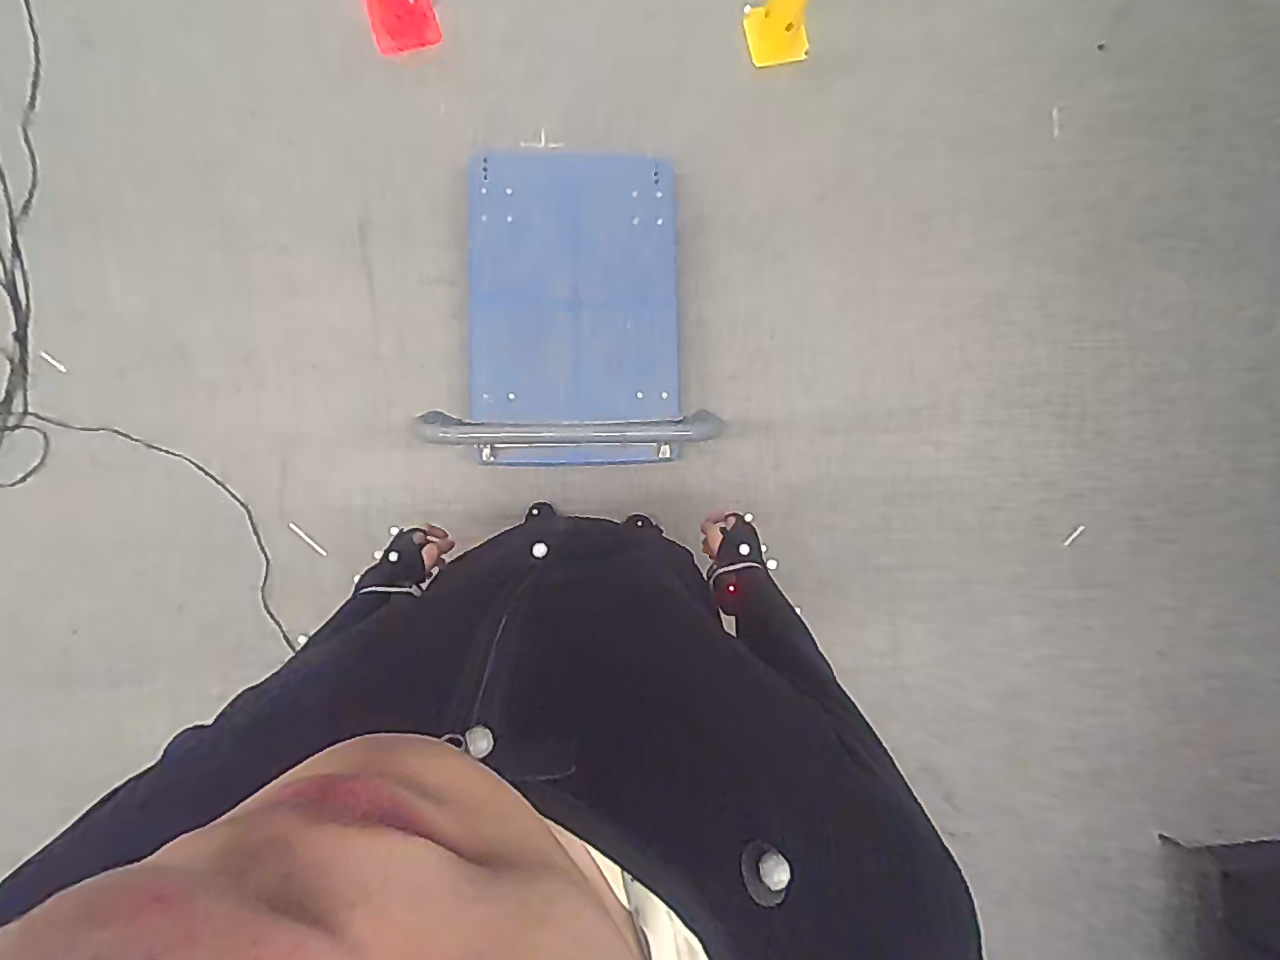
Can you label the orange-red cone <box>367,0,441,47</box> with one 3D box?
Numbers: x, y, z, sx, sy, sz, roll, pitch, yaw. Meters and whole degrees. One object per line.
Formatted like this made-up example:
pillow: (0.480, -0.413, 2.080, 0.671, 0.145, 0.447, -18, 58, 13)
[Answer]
orange-red cone: (-0.718, -1.450, 1.497, 0.199, 0.360, 0.198, -16, 88, -4)
